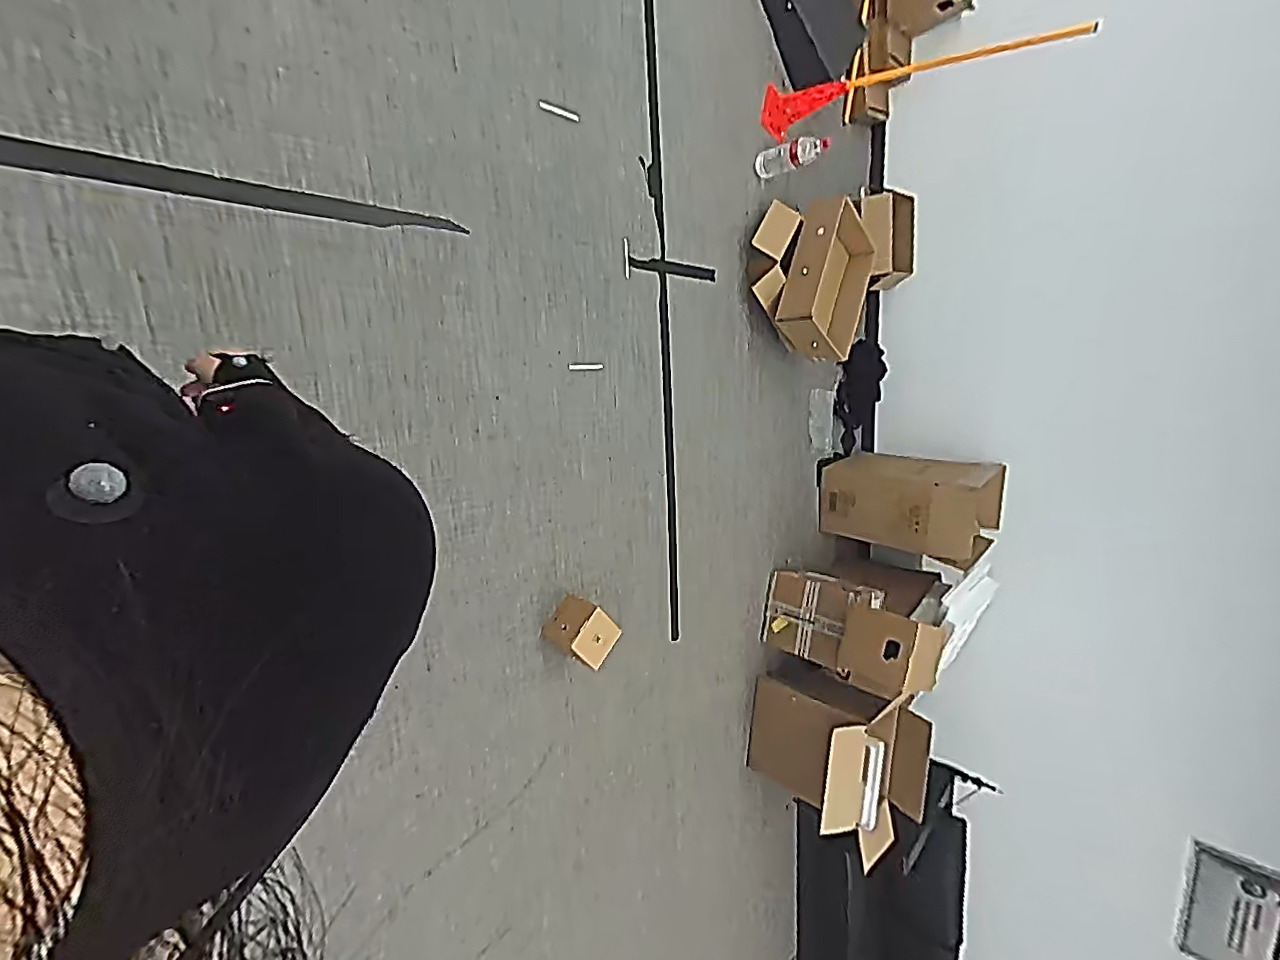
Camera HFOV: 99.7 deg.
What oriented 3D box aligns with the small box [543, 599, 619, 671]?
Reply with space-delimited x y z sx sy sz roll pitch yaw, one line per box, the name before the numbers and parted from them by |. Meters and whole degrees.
small box | -0.213 0.544 1.927 0.168 0.176 0.179 -53 130 -24
